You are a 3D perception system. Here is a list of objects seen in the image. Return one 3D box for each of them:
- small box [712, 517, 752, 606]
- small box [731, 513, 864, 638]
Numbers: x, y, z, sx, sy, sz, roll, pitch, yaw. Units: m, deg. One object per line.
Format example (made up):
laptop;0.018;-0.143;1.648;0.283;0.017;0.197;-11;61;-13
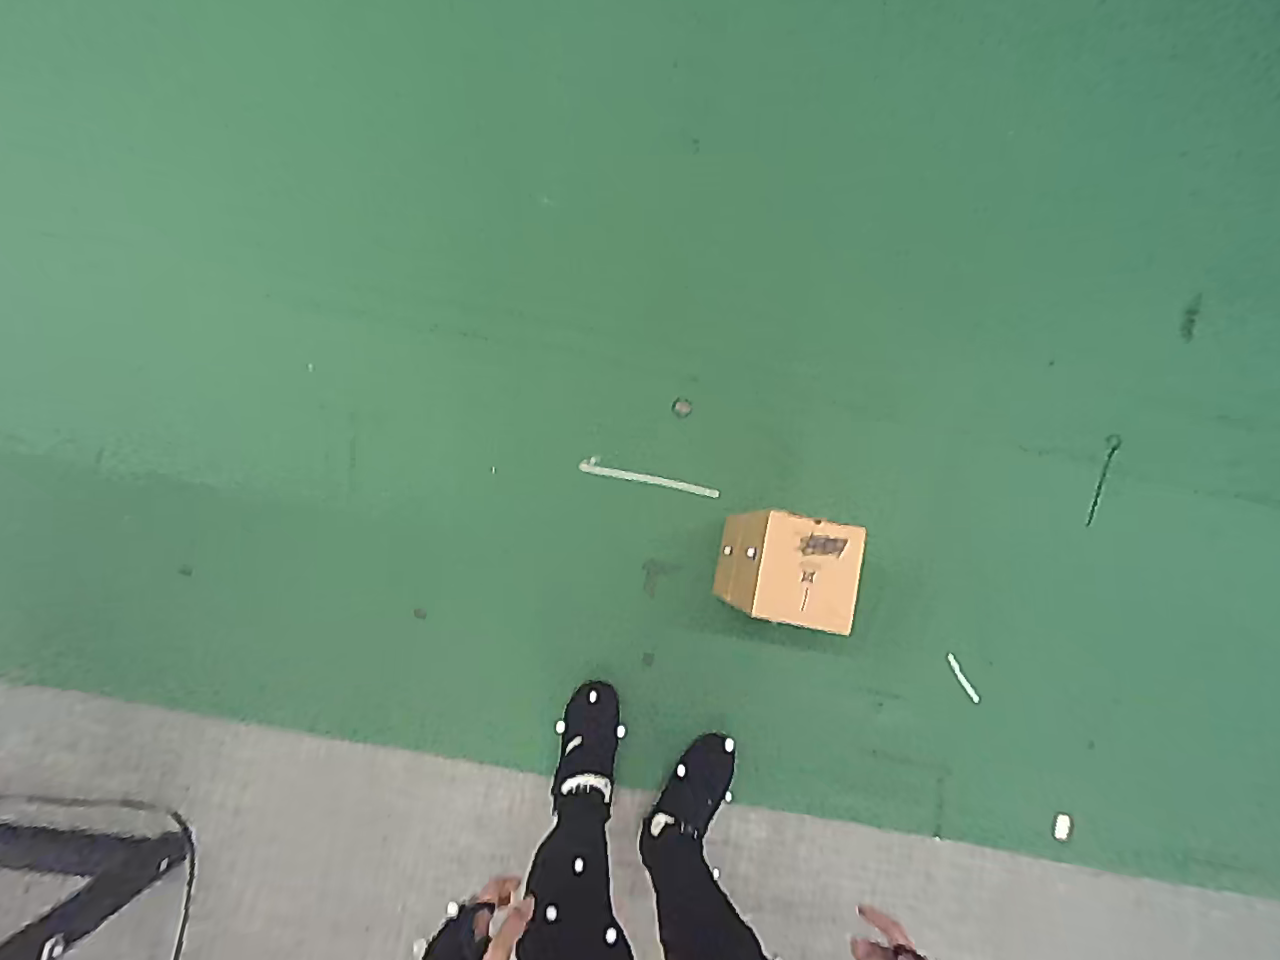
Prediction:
small box;0.255;0.181;1.118;0.168;0.176;0.179;13;83;-2
small box;0.268;0.163;0.956;0.168;0.176;0.179;12;83;-2
